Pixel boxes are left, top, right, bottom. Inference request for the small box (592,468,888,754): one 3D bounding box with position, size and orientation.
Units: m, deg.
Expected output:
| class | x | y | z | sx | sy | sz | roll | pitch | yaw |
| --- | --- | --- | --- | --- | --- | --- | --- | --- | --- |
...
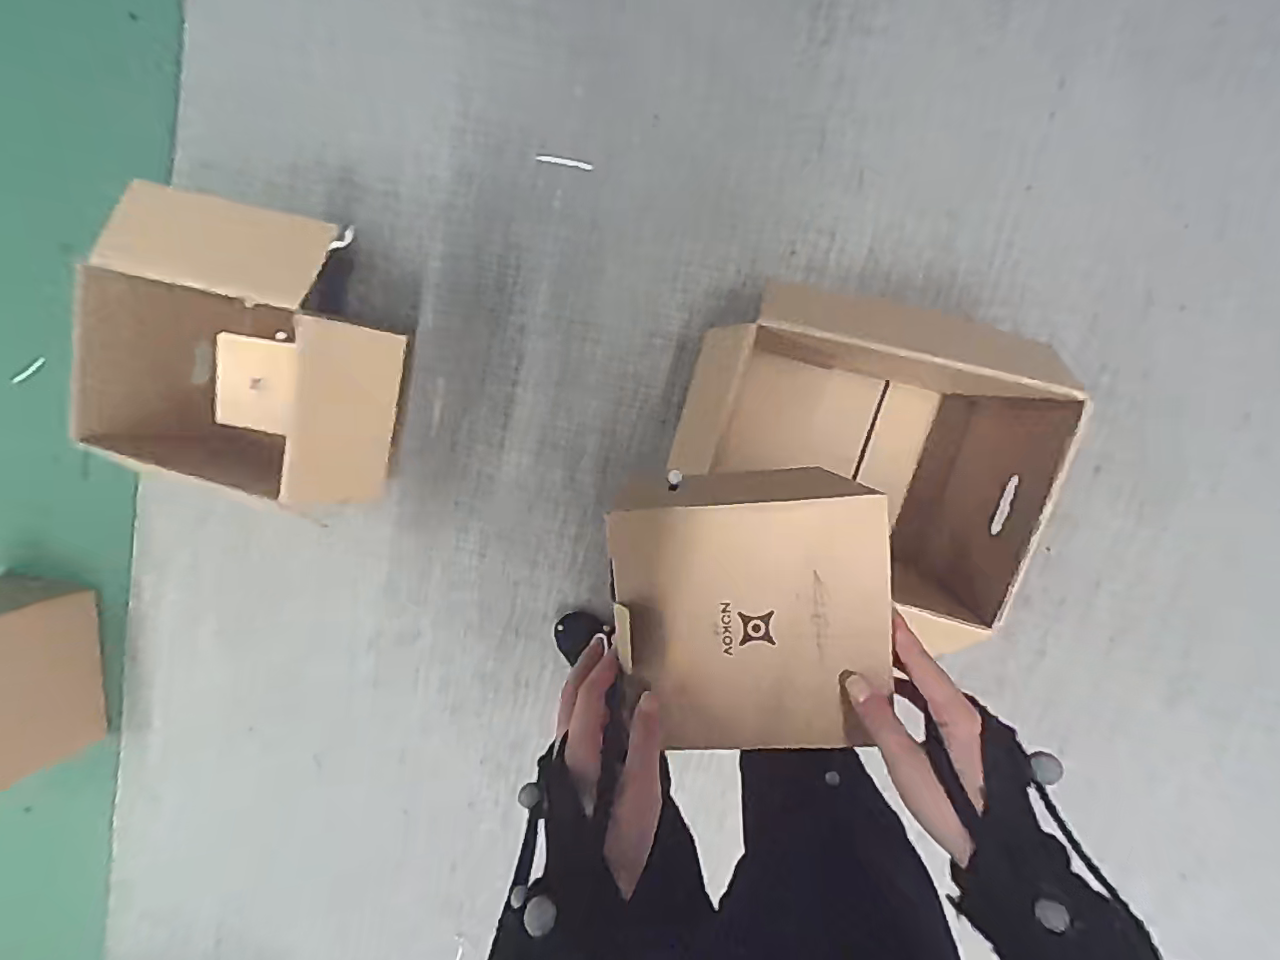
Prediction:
| class | x | y | z | sx | sy | sz | roll | pitch | yaw |
| --- | --- | --- | --- | --- | --- | --- | --- | --- | --- |
| small box | 0.069 | 0.083 | 0.414 | 0.179 | 0.176 | 0.168 | -5 | 96 | 5 |
